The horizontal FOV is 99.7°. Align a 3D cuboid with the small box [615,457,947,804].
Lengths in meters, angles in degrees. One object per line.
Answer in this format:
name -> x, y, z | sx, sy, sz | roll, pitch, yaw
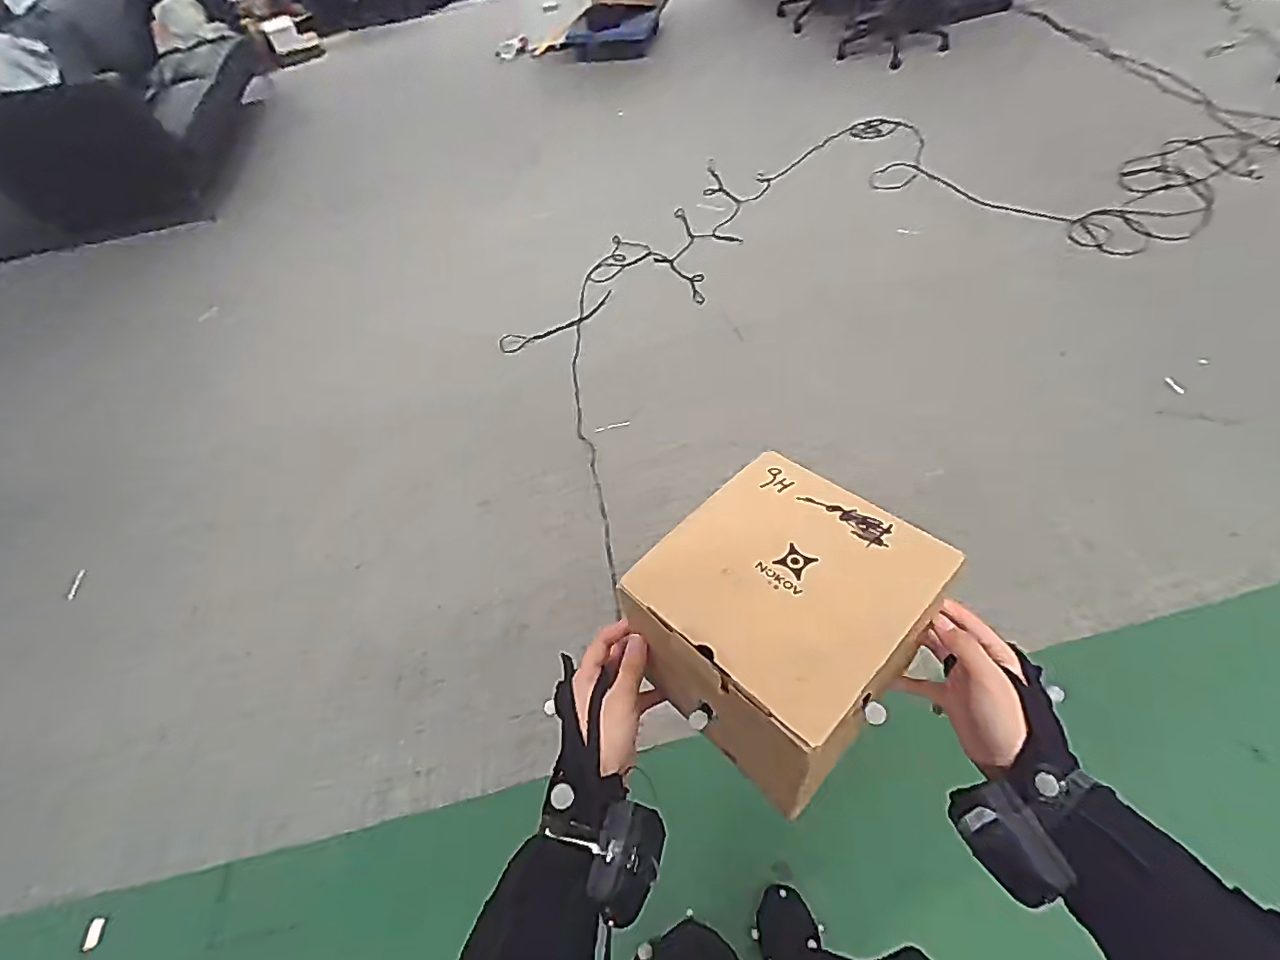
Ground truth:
small box -> 0.109, 0.121, 0.438 | 0.179, 0.176, 0.168 | -39, 52, -23
